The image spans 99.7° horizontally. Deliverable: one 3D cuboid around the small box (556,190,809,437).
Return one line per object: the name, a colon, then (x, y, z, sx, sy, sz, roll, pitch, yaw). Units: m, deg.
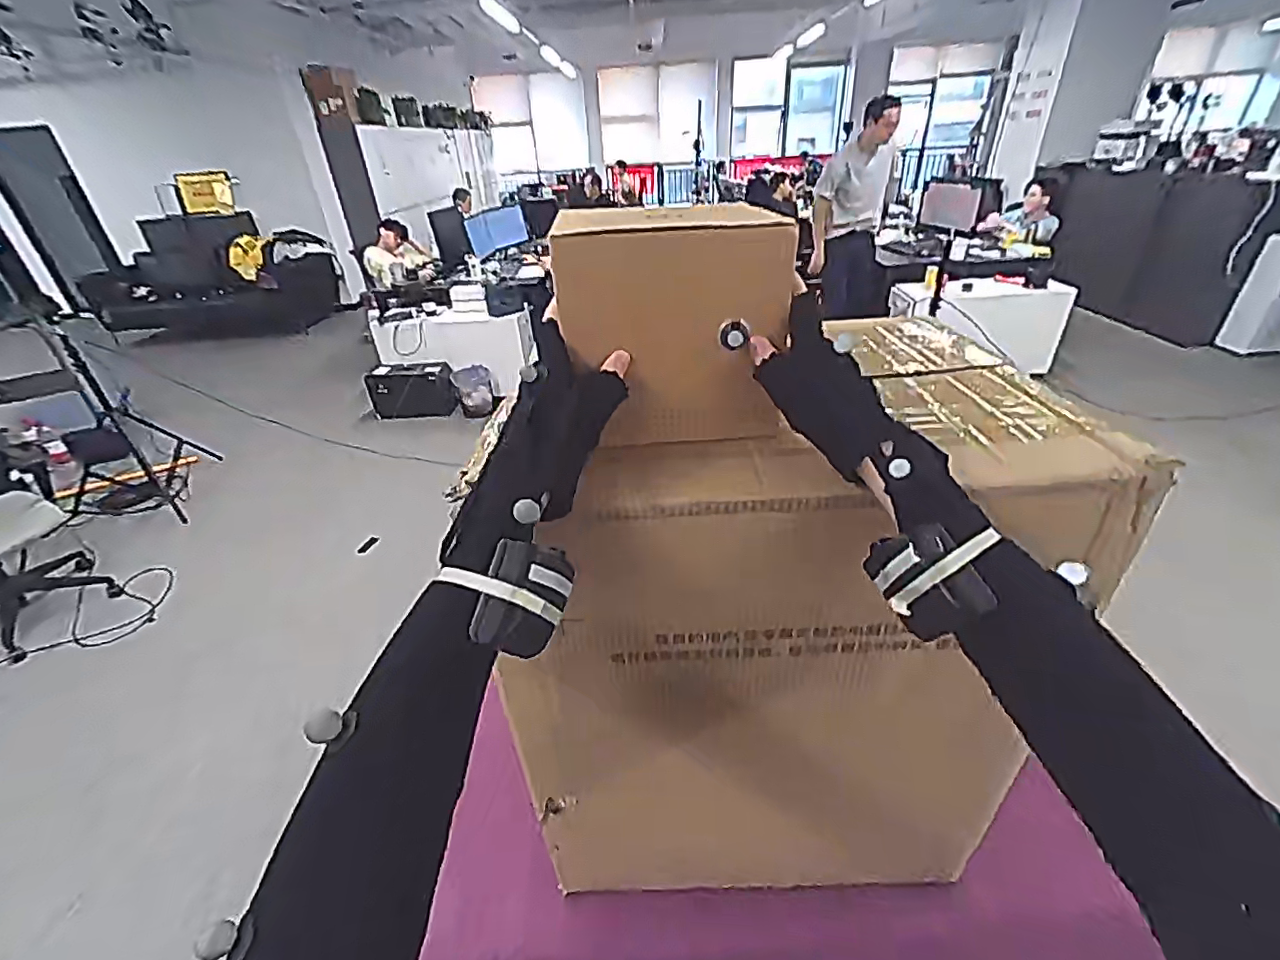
small box: (0.028, -0.149, 0.473, 0.179, 0.176, 0.168, -5, 31, -2)
